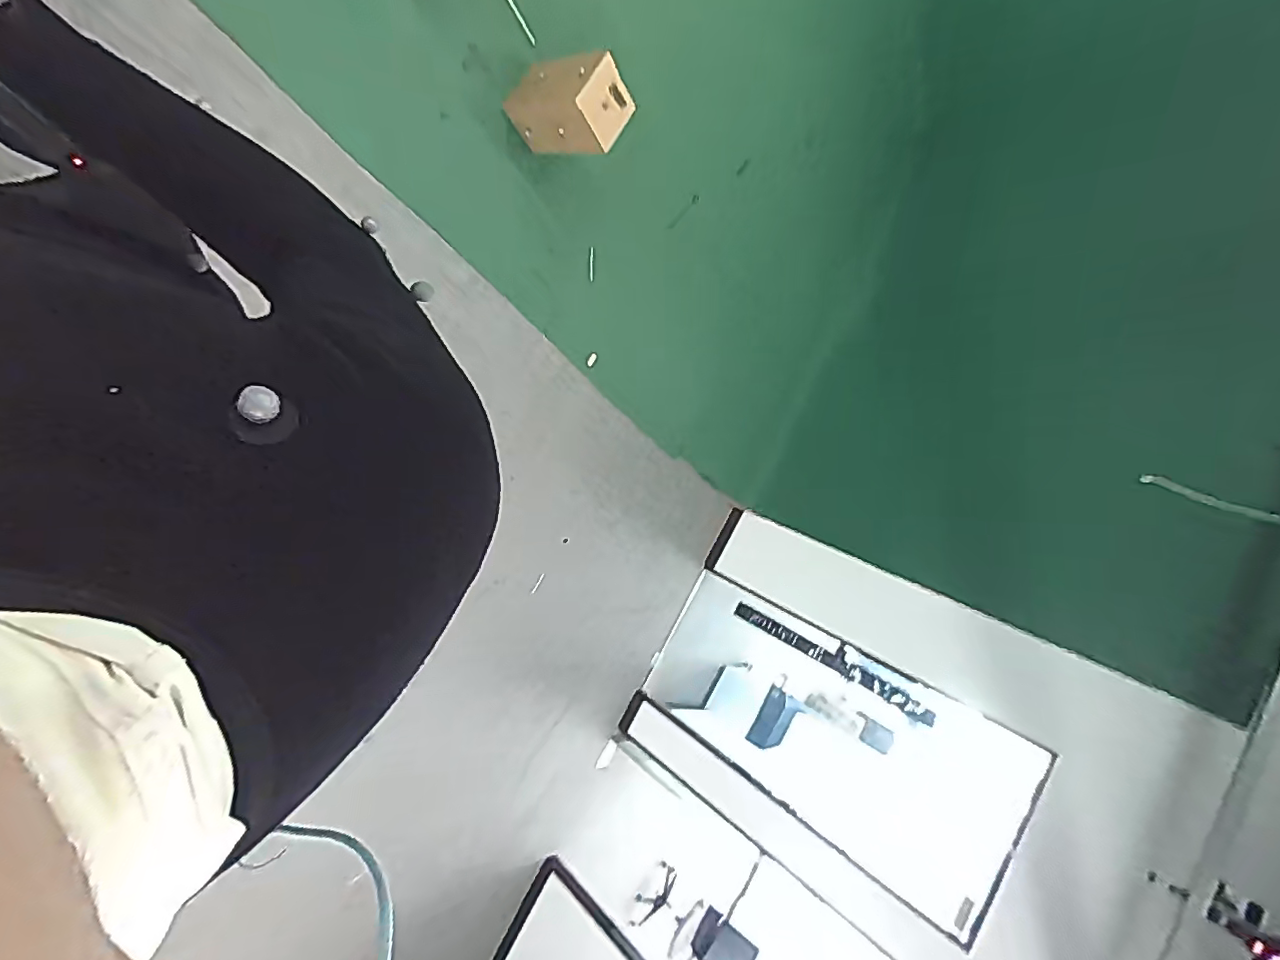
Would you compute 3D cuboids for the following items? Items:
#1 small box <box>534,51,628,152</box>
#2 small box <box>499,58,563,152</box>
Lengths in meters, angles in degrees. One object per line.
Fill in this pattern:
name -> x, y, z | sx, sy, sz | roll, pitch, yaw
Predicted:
small box -> -0.171, -1.078, 1.549 | 0.179, 0.176, 0.168 | -61, 145, -7
small box -> -0.295, -1.133, 1.642 | 0.179, 0.176, 0.168 | -60, 145, -7
